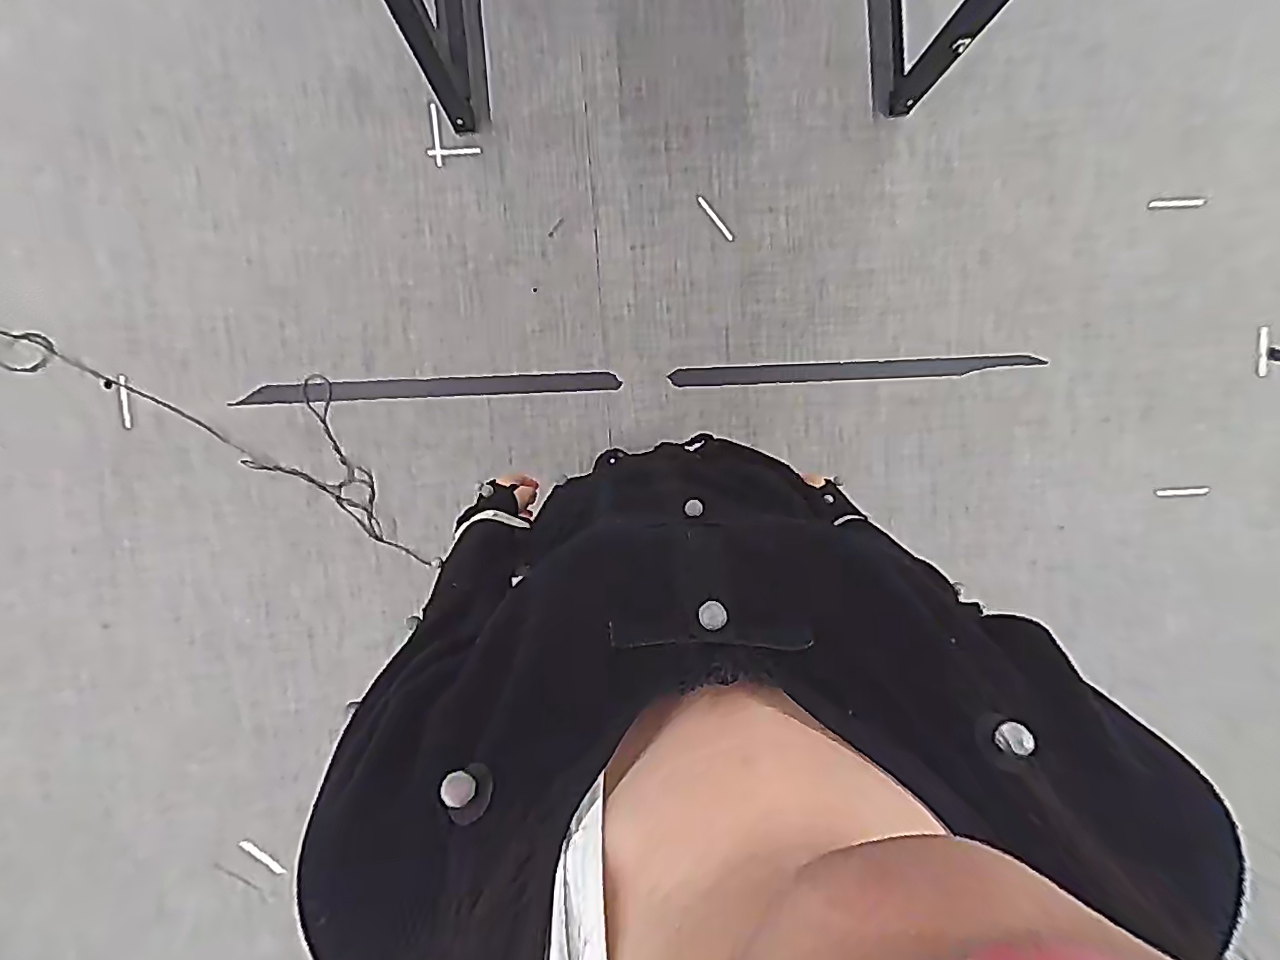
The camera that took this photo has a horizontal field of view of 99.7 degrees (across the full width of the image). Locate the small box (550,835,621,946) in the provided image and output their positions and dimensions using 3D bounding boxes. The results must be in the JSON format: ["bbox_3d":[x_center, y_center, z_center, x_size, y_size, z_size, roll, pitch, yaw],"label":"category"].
[{"bbox_3d":[-0.148,1.120,1.493,0.168,0.176,0.179,-9,96,-2],"label":"small box"}]
